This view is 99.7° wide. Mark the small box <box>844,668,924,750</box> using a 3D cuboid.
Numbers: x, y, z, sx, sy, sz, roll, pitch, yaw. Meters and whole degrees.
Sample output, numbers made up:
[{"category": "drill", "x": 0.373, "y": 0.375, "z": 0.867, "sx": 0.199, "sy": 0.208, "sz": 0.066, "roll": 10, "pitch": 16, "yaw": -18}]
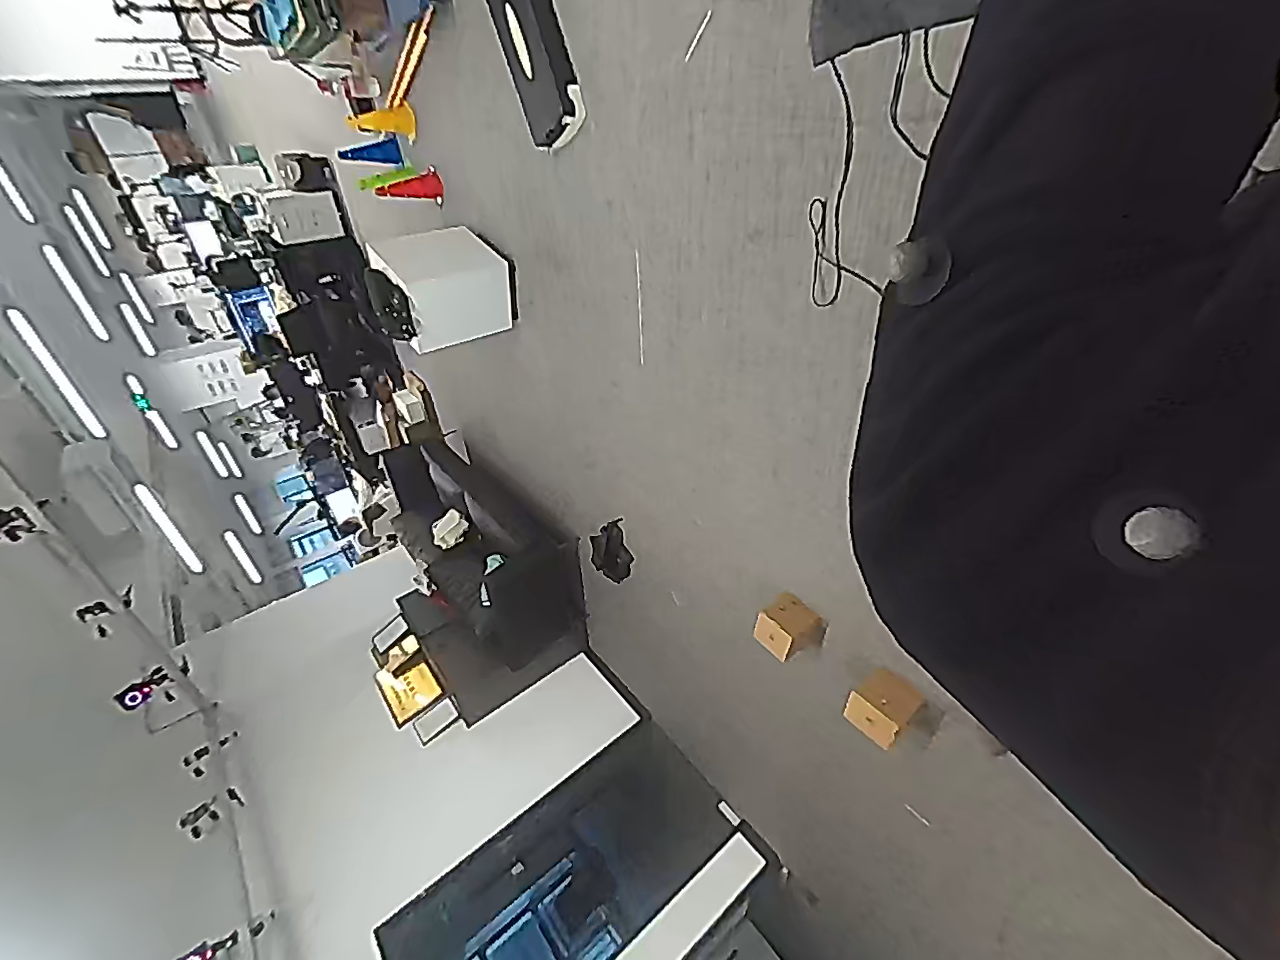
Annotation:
[{"category": "small box", "x": 0.853, "y": 0.791, "z": 1.894, "sx": 0.179, "sy": 0.176, "sz": 0.168, "roll": 35, "pitch": 139, "yaw": 39}]

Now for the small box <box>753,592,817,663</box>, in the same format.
[{"category": "small box", "x": 0.581, "y": 0.582, "z": 2.155, "sx": 0.168, "sy": 0.176, "sz": 0.179, "roll": 40, "pitch": 143, "yaw": 37}]
